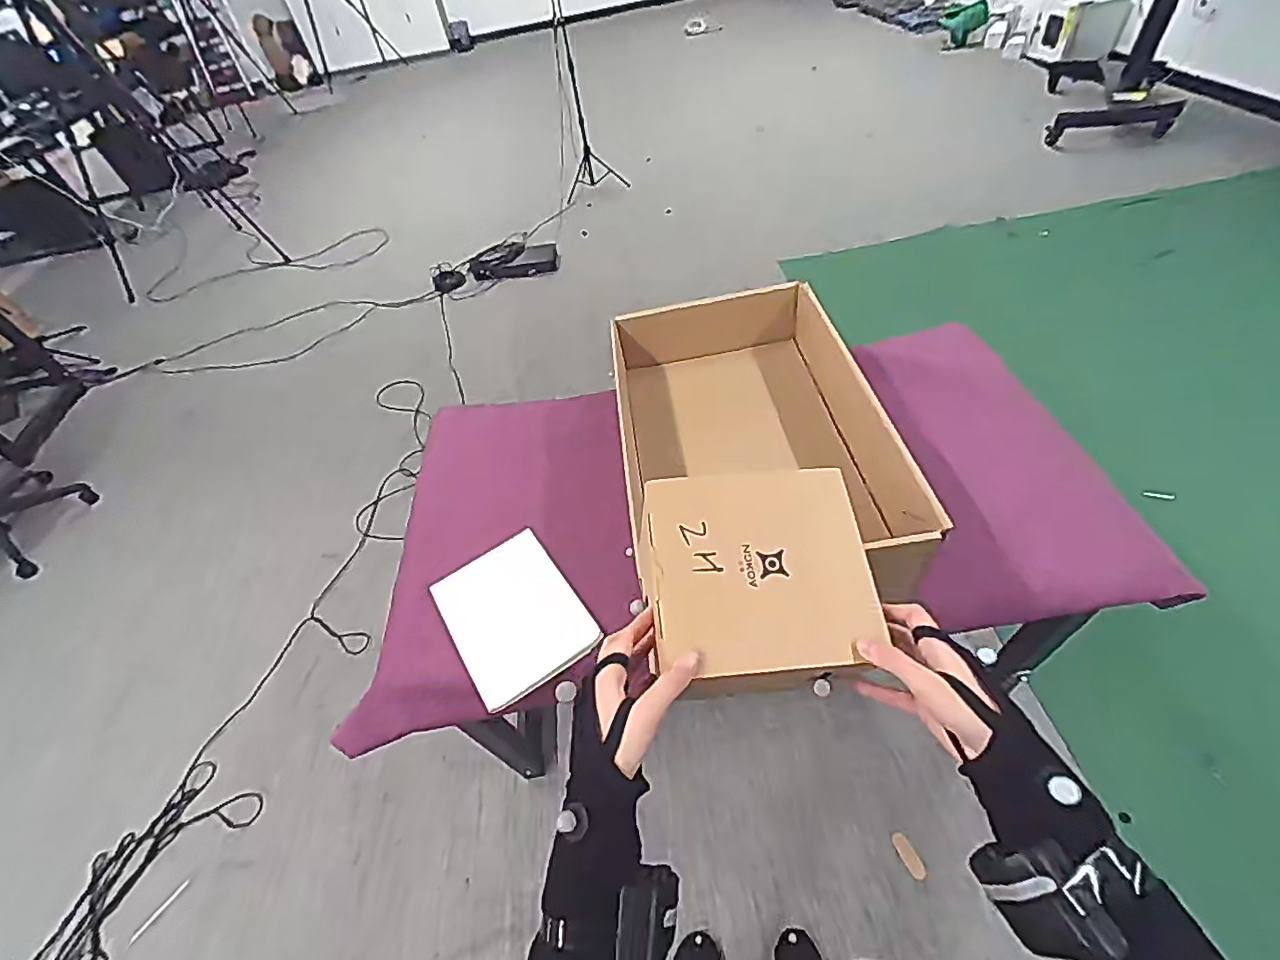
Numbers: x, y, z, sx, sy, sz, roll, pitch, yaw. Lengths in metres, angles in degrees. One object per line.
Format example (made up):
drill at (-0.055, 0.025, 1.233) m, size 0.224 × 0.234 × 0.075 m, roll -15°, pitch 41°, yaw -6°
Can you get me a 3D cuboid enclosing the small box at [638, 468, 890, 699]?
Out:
small box at (0.092, 0.103, 0.501) m, size 0.179 × 0.176 × 0.168 m, roll -4°, pitch 62°, yaw -3°
